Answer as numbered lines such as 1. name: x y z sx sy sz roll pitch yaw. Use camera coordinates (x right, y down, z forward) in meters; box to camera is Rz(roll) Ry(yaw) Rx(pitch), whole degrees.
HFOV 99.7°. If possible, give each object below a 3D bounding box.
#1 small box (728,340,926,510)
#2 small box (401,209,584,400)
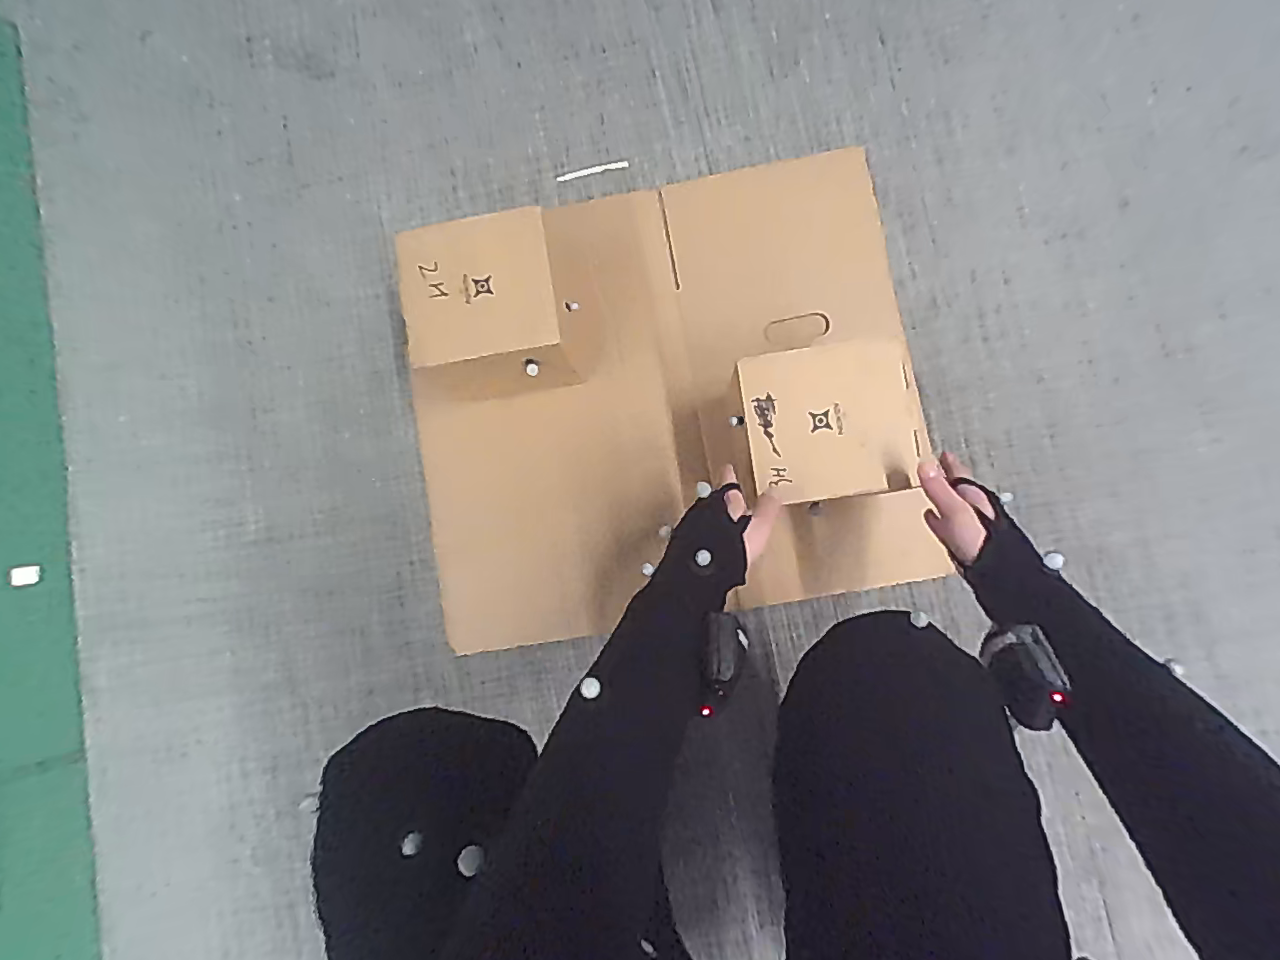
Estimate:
1. small box: 0.209 -0.054 0.652 0.179 0.176 0.168 -7 85 4
2. small box: -0.173 -0.209 0.688 0.179 0.176 0.168 -9 85 4
